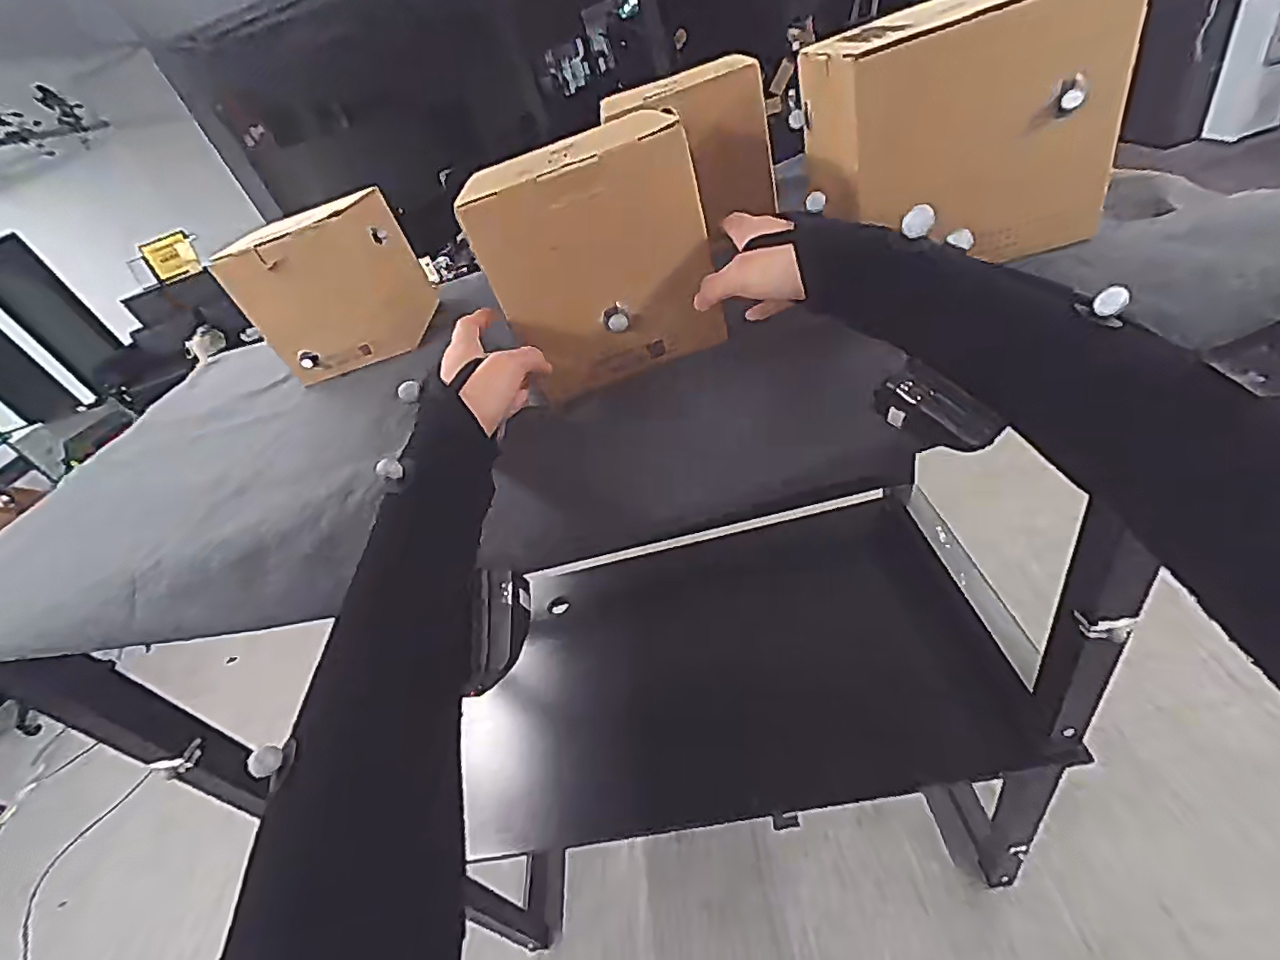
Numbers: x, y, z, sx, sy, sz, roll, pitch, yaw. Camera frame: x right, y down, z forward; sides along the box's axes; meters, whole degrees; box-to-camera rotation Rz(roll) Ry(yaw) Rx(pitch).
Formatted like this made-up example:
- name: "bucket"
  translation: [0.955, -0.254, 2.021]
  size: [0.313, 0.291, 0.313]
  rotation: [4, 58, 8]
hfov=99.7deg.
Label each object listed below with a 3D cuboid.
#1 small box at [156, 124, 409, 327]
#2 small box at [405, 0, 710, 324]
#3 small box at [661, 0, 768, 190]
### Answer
- name: "small box"
  translation: [-0.414, -0.309, 0.668]
  size: [0.168, 0.176, 0.179]
  rotation: [-17, 38, 4]
- name: "small box"
  translation: [-0.054, -0.249, 0.435]
  size: [0.168, 0.176, 0.179]
  rotation: [-19, 38, 3]
- name: "small box"
  translation: [0.039, -0.431, 0.611]
  size: [0.168, 0.176, 0.179]
  rotation: [-15, 38, 8]
